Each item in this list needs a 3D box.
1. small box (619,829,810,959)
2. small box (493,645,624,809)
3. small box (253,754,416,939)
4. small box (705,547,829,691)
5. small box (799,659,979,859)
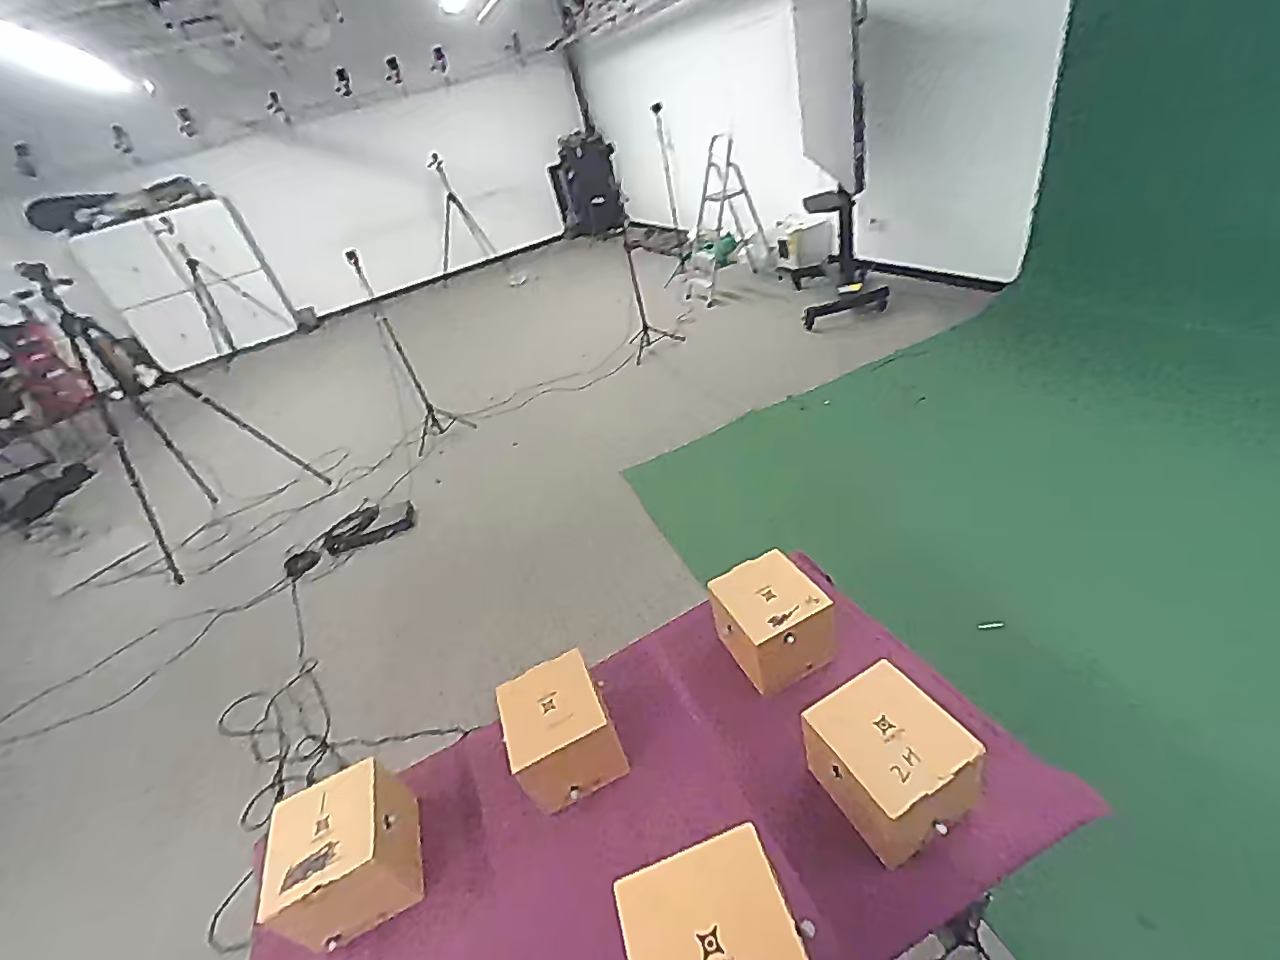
[{"bbox_3d":[0.092,0.517,0.571,0.168,0.176,0.179,-21,40,-4],"label":"small box"},{"bbox_3d":[-0.146,0.440,0.968,0.168,0.176,0.179,-23,38,-11],"label":"small box"},{"bbox_3d":[-0.478,0.593,0.871,0.168,0.176,0.179,-23,37,-13],"label":"small box"},{"bbox_3d":[0.246,0.269,1.054,0.168,0.176,0.179,-24,37,-12],"label":"small box"},{"bbox_3d":[0.362,0.416,0.812,0.168,0.176,0.179,-26,38,-13],"label":"small box"}]
